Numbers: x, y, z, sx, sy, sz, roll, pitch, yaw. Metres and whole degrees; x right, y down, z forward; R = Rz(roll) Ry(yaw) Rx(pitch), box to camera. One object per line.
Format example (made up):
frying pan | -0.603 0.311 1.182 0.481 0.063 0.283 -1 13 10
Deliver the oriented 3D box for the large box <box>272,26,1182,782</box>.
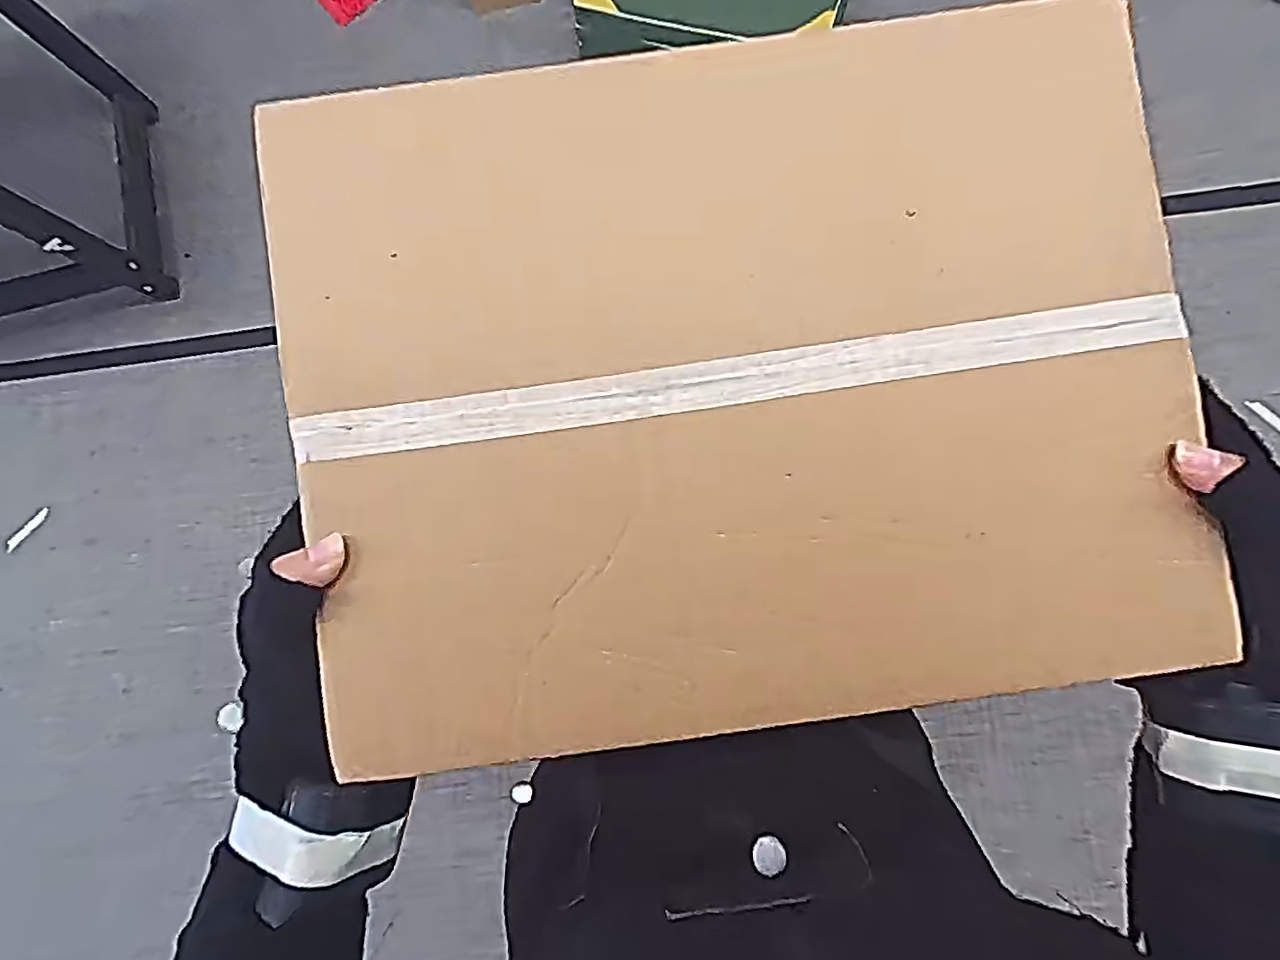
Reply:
large box | 0.041 -0.036 0.406 0.408 0.320 0.320 -8 88 0
